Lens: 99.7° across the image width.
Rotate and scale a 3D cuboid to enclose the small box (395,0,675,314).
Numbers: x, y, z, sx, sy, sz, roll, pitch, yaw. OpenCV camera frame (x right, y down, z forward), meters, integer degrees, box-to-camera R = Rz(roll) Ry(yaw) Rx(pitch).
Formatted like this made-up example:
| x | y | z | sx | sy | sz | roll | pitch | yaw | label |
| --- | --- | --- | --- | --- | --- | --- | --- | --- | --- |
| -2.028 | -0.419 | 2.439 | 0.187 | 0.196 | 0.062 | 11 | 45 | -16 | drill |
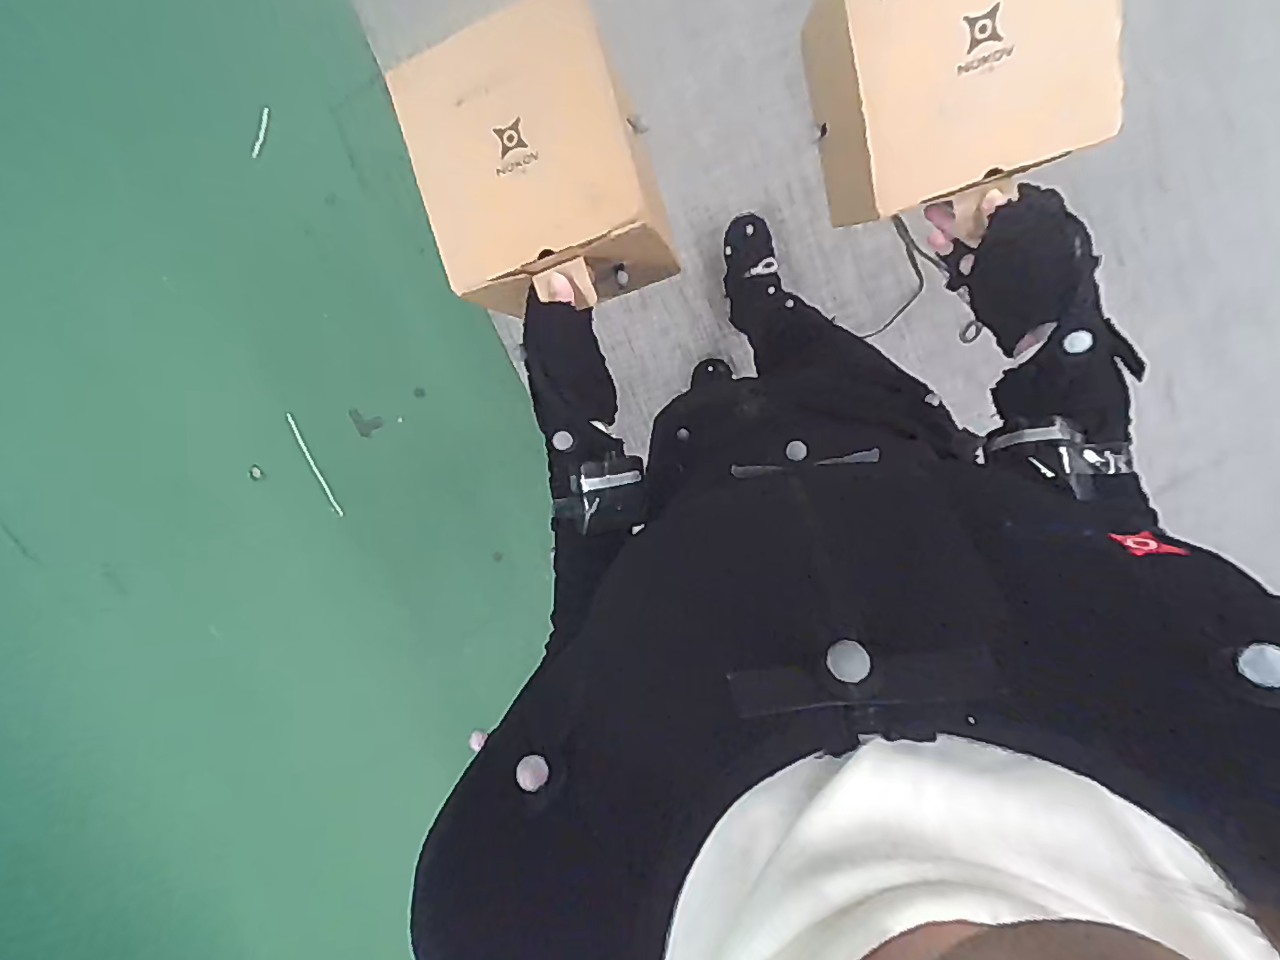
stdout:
| x | y | z | sx | sy | sz | roll | pitch | yaw | label |
| --- | --- | --- | --- | --- | --- | --- | --- | --- | --- |
| -0.076 | -0.262 | 0.488 | 0.168 | 0.176 | 0.179 | -16 | 93 | 15 | small box |
